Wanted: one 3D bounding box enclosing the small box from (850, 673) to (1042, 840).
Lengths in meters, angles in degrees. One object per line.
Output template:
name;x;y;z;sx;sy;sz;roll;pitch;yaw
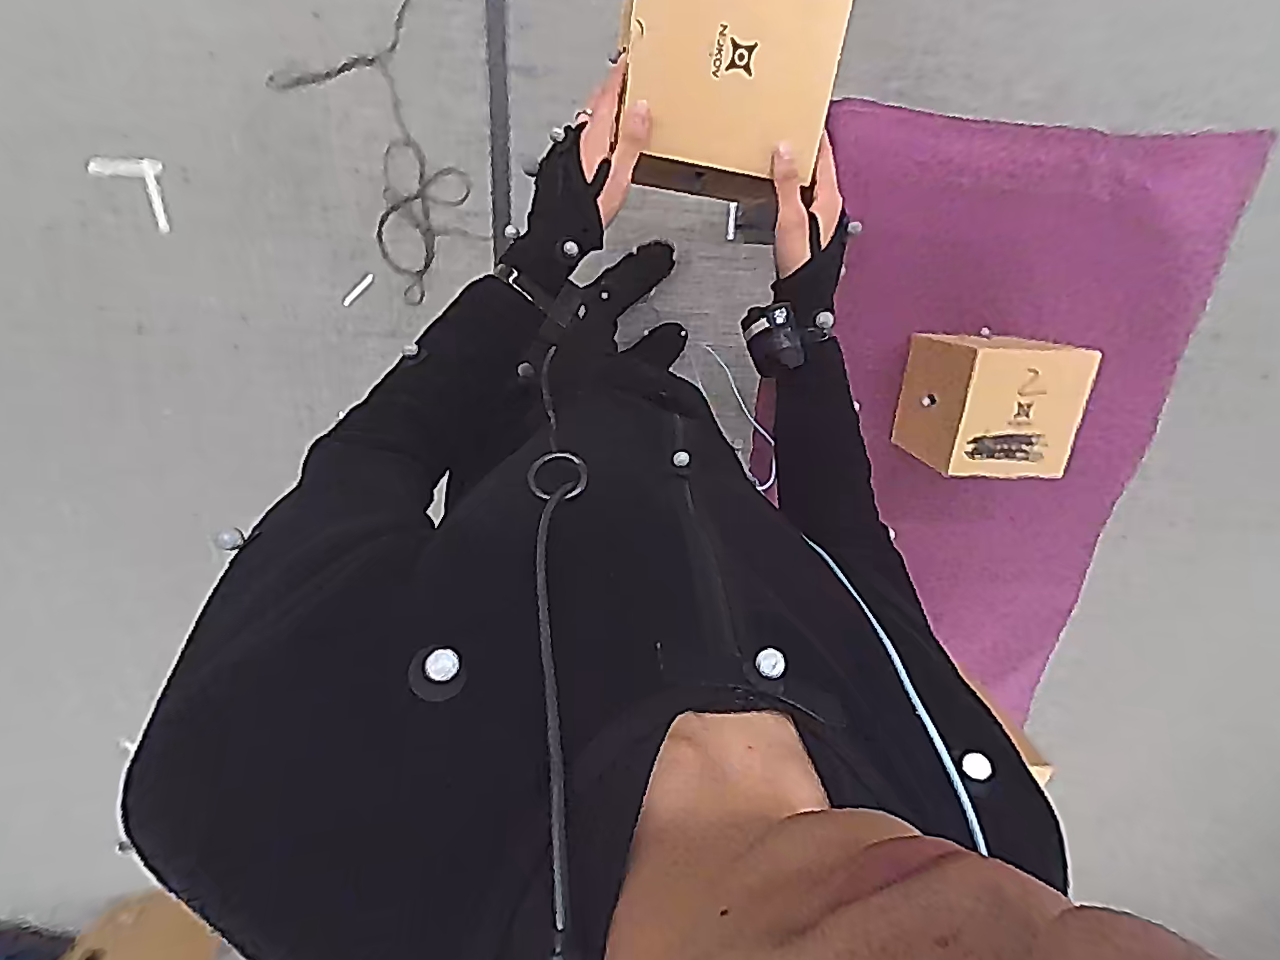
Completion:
small box;0.455;0.418;0.835;0.179;0.176;0.168;3;111;-4

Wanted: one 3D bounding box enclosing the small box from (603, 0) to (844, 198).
small box;0.063;-0.376;0.515;0.179;0.176;0.168;5;112;-8
